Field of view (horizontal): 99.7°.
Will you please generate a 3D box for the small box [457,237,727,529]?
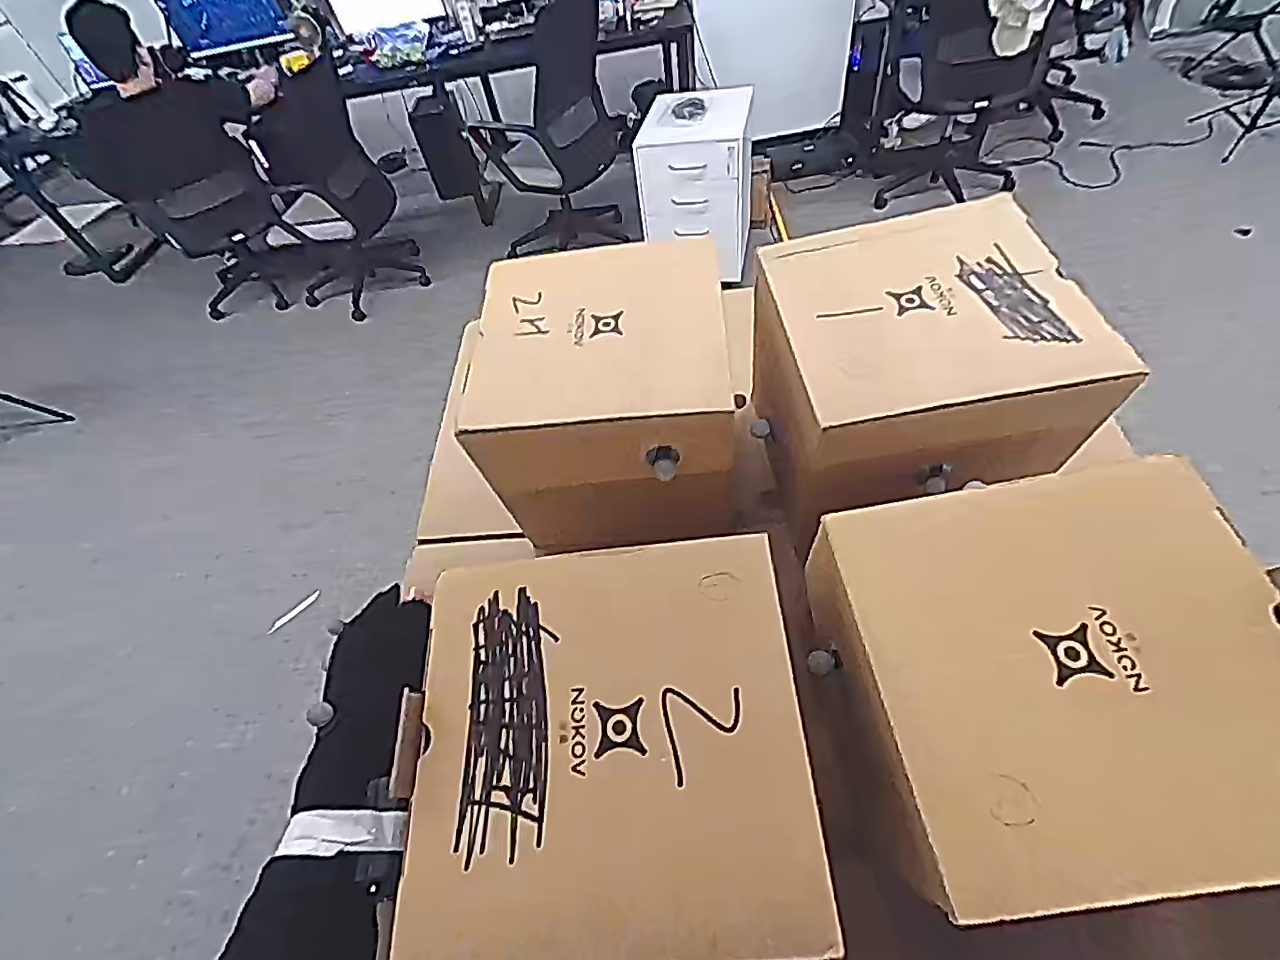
[{"bbox_3d":[-0.020,-0.069,0.448,0.179,0.176,0.168,-4,57,8],"label":"small box"}]
